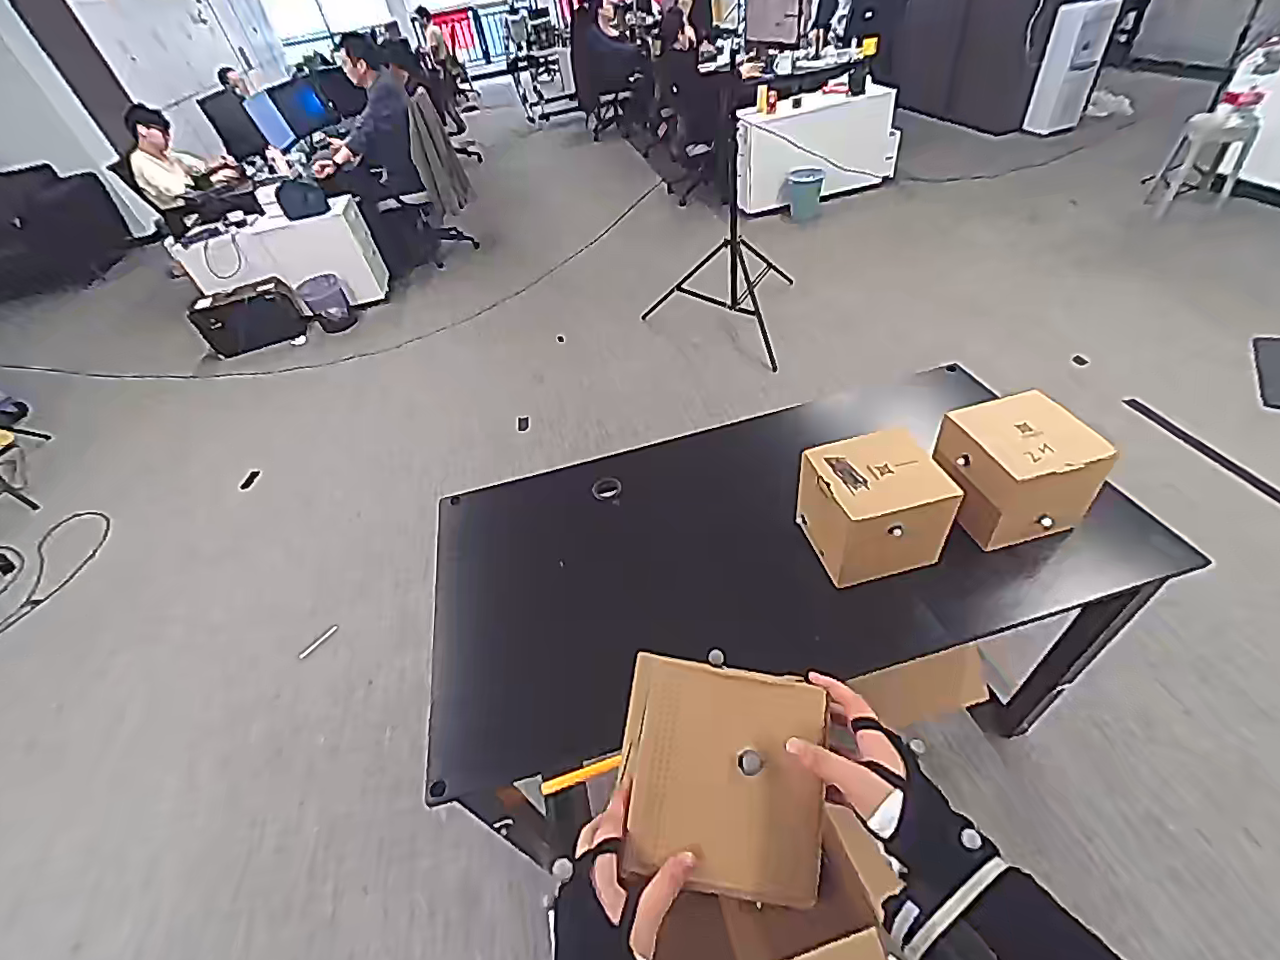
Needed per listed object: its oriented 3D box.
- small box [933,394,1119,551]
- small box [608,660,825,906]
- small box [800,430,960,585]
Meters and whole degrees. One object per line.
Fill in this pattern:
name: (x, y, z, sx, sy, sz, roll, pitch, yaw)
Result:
small box: (0.612, -0.013, 0.895, 0.168, 0.176, 0.179, -14, 44, -2)
small box: (0.067, 0.279, 0.538, 0.176, 0.168, 0.179, 10, 73, -2)
small box: (0.374, 0.048, 0.883, 0.179, 0.176, 0.168, -13, 44, -3)
